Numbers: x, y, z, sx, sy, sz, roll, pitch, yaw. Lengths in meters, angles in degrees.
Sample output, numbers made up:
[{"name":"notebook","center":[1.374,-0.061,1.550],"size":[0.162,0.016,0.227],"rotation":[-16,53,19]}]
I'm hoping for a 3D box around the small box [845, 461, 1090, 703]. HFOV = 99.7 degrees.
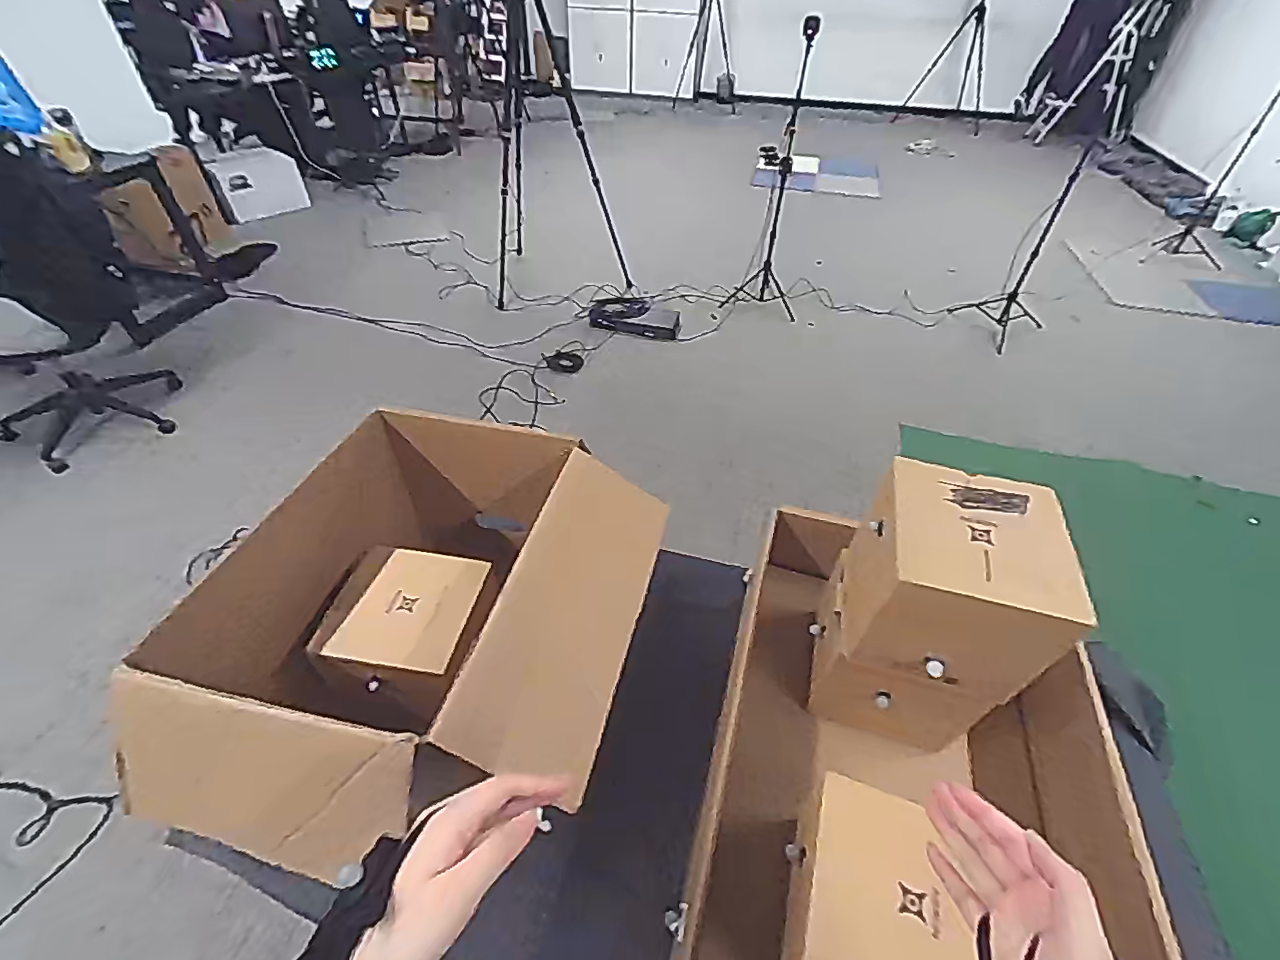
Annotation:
[{"name":"small box","center":[0.335,0.111,0.596],"size":[0.168,0.176,0.179],"rotation":[13,47,11]}]
